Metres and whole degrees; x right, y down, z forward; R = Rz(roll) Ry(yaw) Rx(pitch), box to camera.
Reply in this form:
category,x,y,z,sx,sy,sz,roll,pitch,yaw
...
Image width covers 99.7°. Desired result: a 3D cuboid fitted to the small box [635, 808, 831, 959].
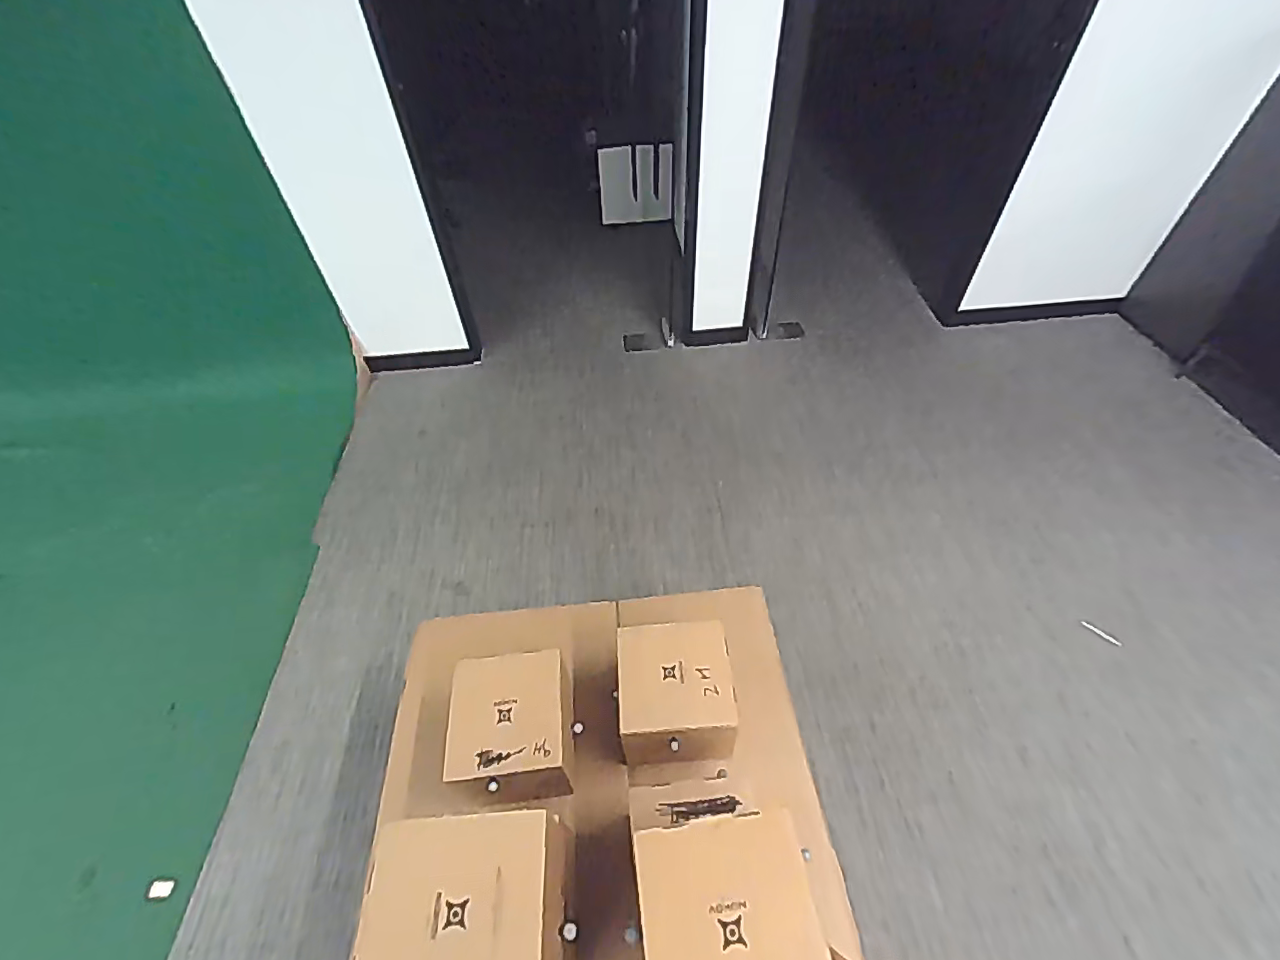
category,x,y,z,sx,sy,sz,roll,pitch,yaw
small box,0.092,0.465,0.551,0.168,0.176,0.179,-8,45,-2

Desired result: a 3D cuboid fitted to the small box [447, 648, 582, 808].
category,x,y,z,sx,sy,sz,roll,pitch,yaw
small box,-0.187,0.392,0.854,0.168,0.176,0.179,-8,48,-1

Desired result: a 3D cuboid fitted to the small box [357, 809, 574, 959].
category,x,y,z,sx,sy,sz,roll,pitch,yaw
small box,-0.171,0.464,0.575,0.179,0.176,0.168,-4,50,-1
